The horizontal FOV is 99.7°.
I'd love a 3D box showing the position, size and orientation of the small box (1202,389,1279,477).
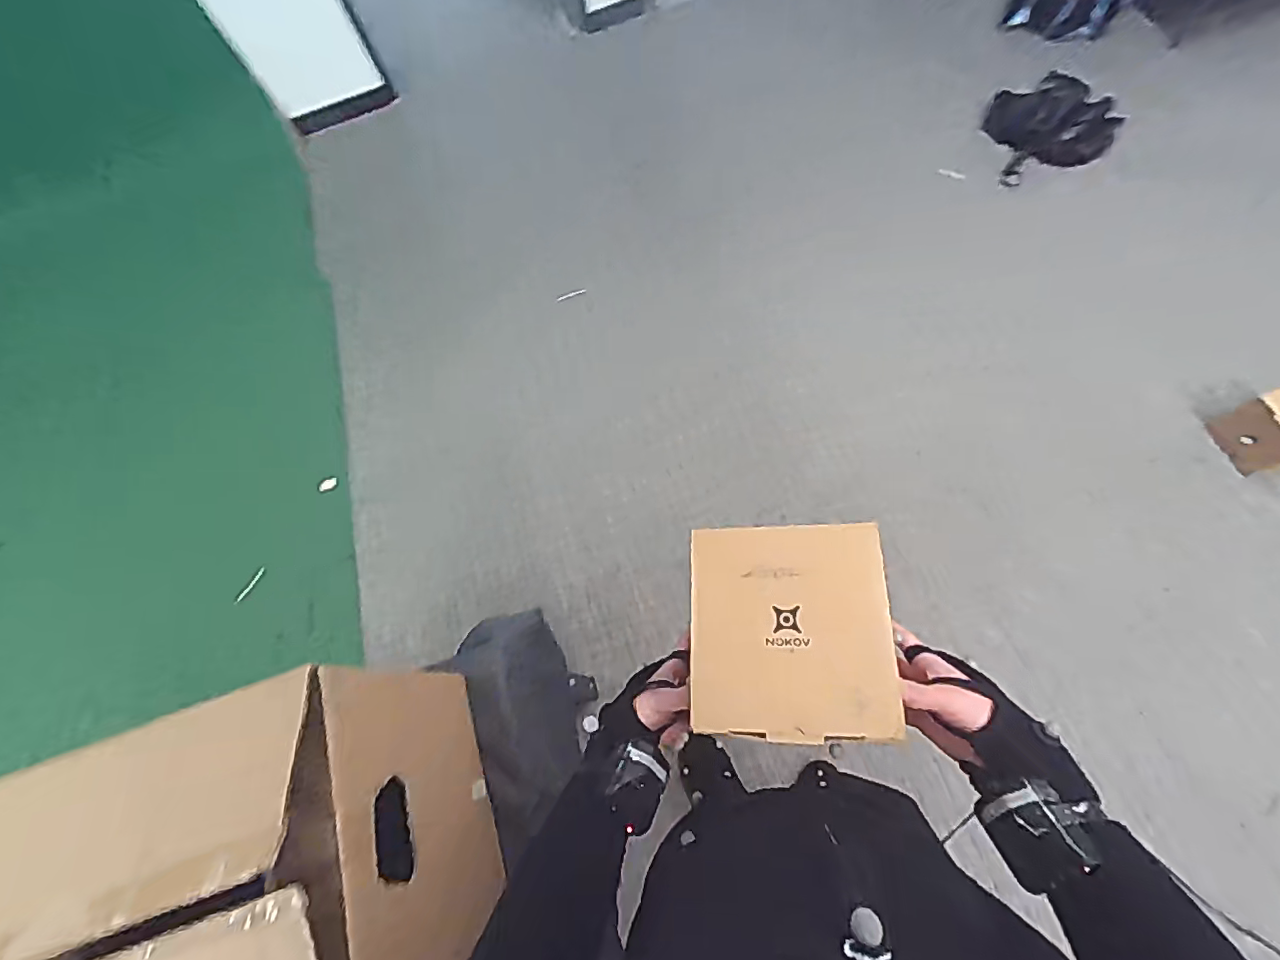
[{"bbox_3d":[1.621,-0.124,1.388,0.179,0.176,0.168,-16,67,1],"label":"small box"}]
